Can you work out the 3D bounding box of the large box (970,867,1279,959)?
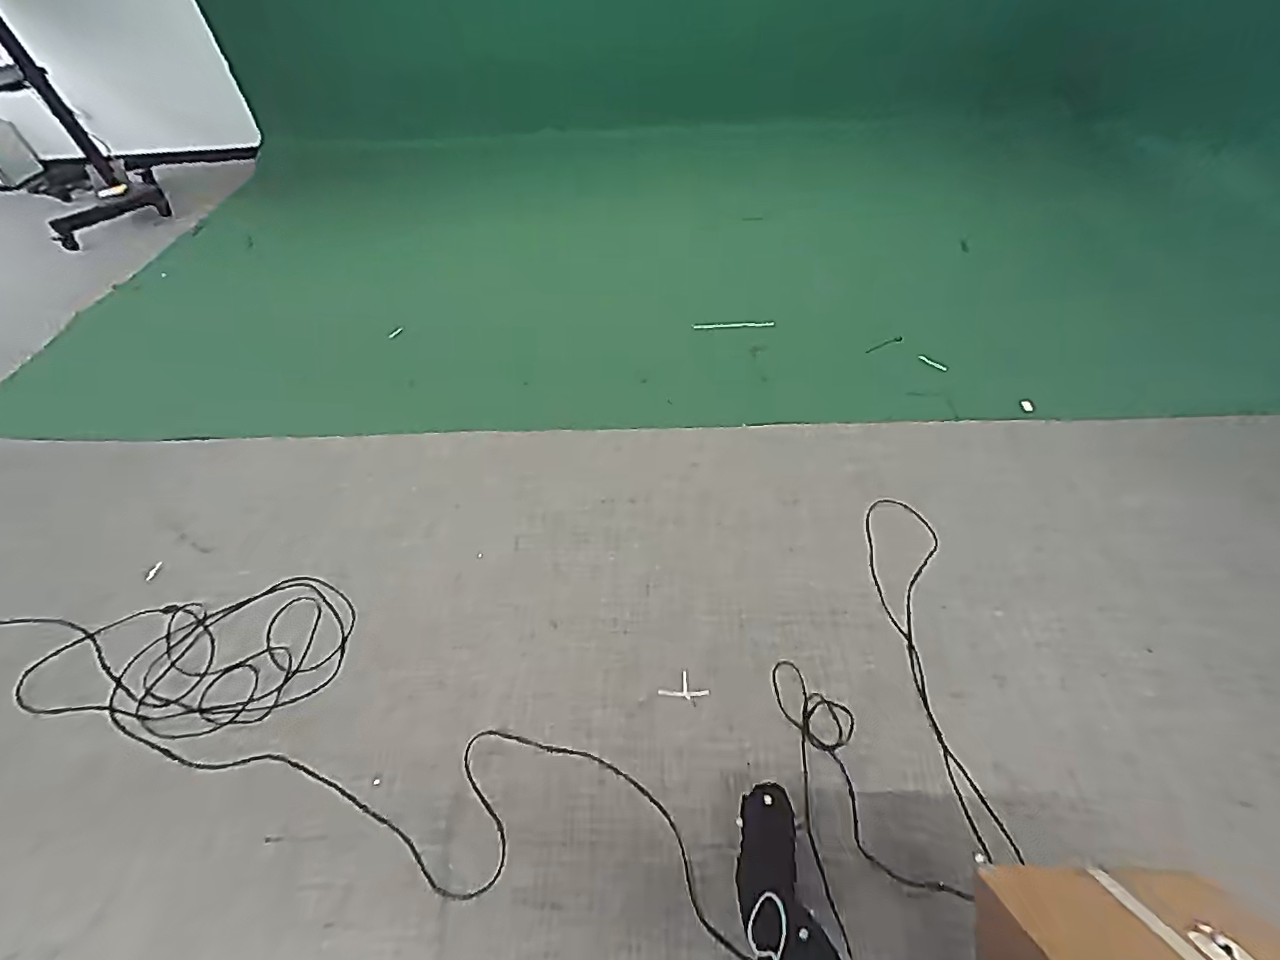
[{"bbox_3d":[0.616,0.700,0.564,0.320,0.408,0.320,1,87,4],"label":"large box"}]
